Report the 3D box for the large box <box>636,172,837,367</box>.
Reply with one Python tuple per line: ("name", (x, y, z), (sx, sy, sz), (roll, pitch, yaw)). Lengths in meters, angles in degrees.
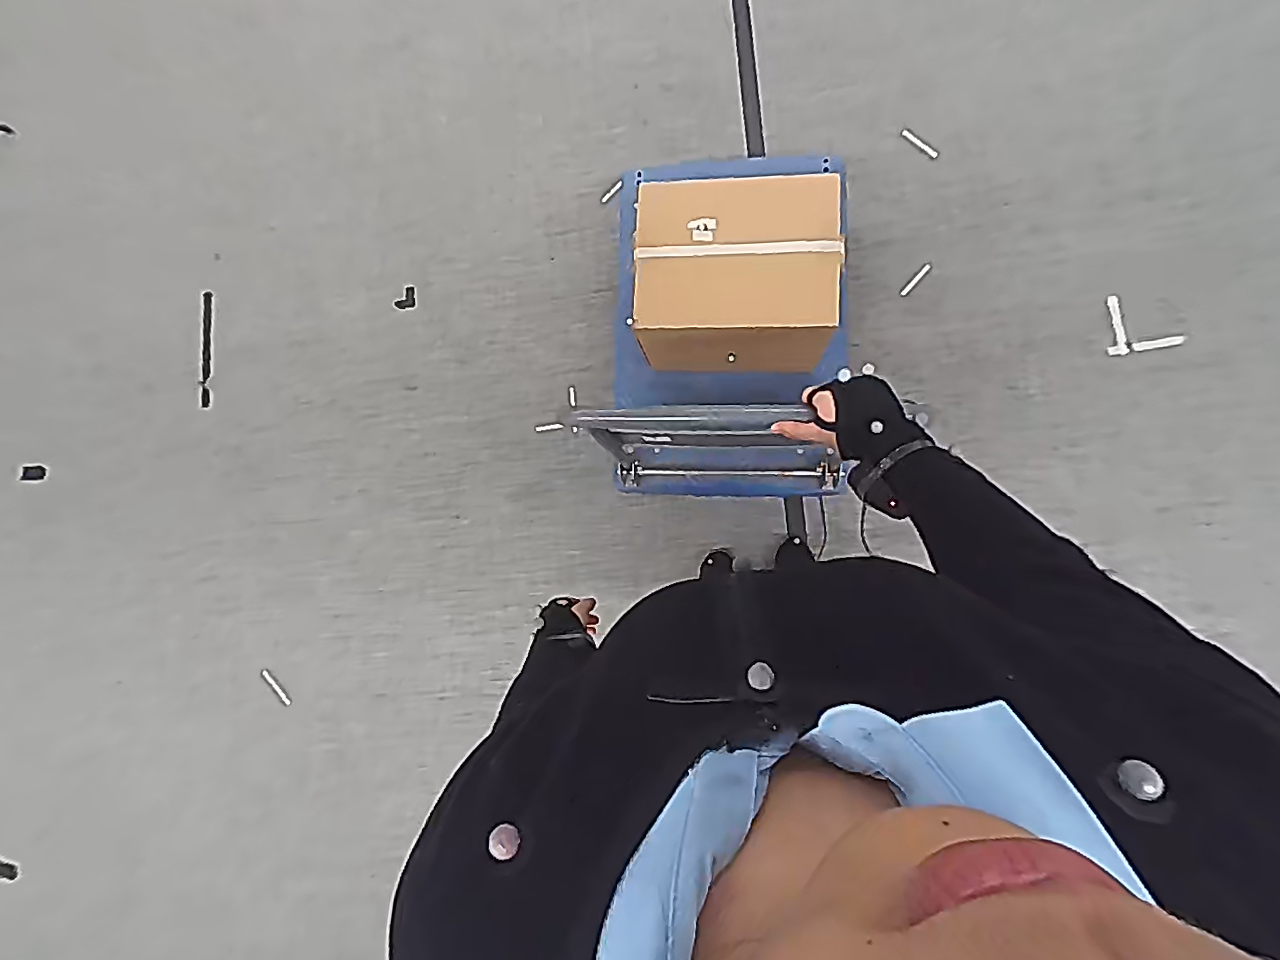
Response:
("large box", (0.217, -0.452, 1.242), (0.408, 0.320, 0.320), (1, 85, 10))
